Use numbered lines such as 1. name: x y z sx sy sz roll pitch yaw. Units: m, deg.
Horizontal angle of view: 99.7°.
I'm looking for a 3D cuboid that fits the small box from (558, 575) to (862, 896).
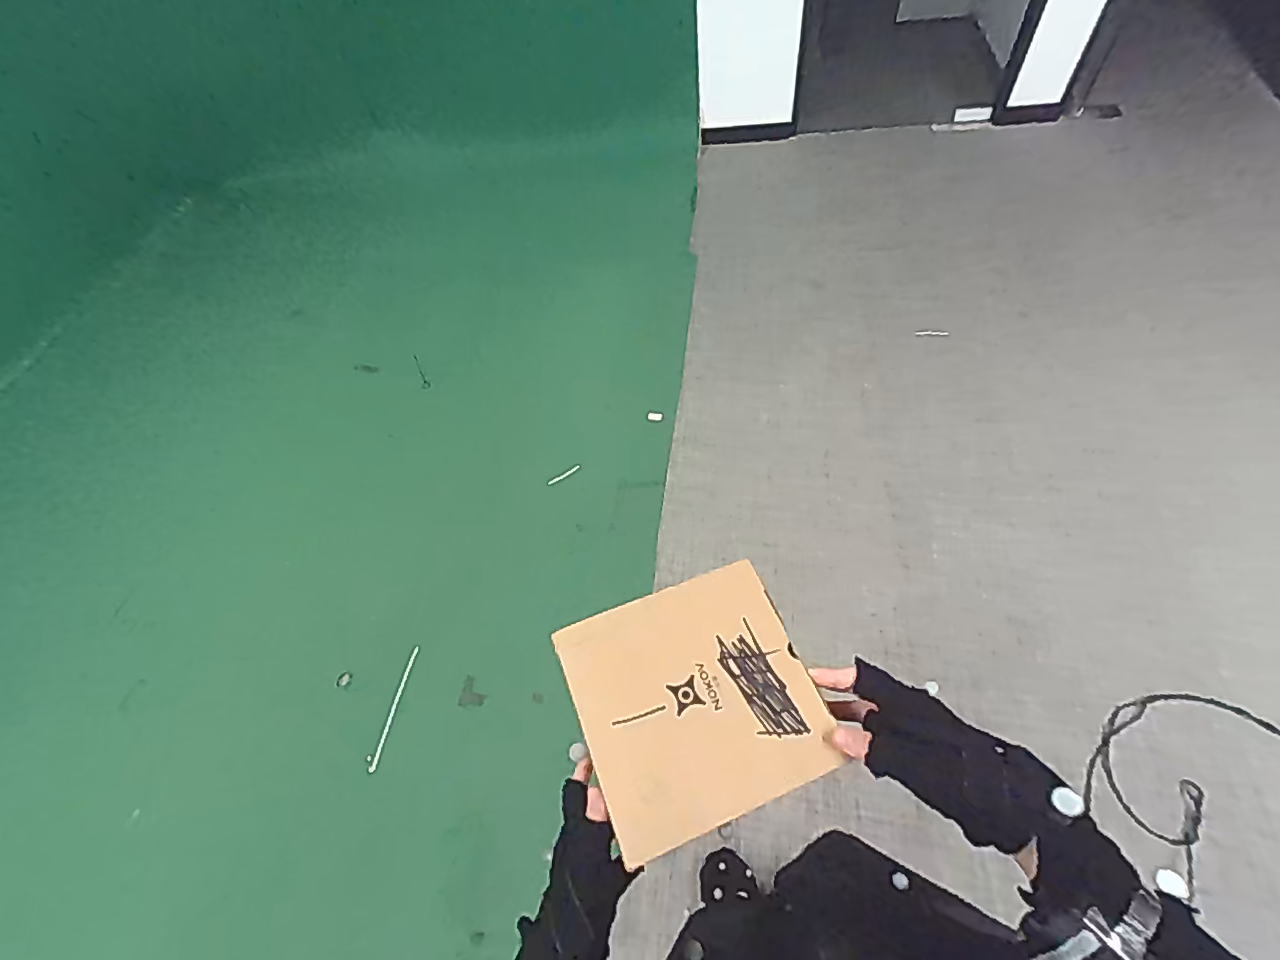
1. small box: 0.041 0.207 0.455 0.179 0.176 0.168 -18 61 -13
